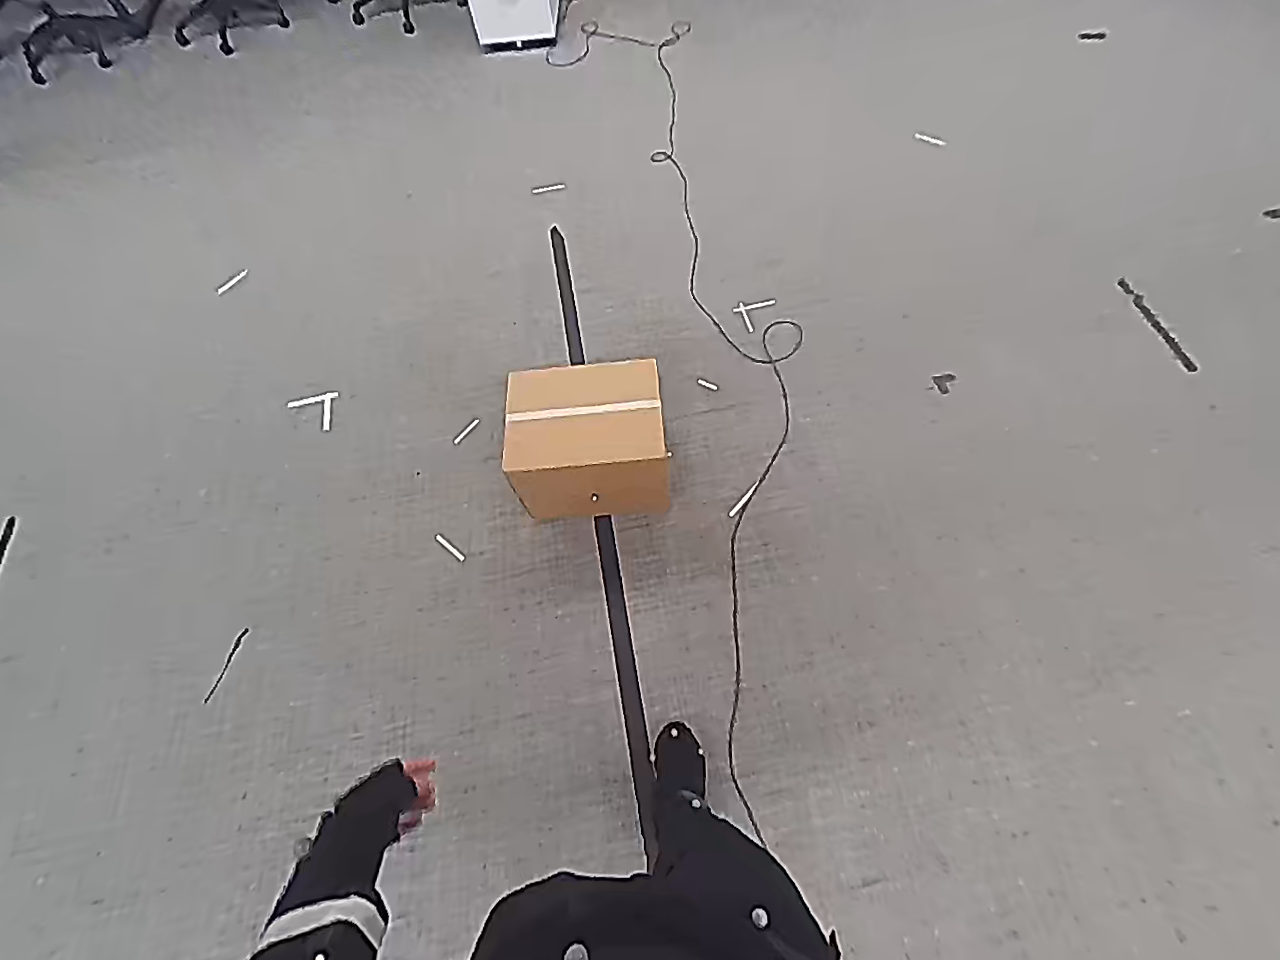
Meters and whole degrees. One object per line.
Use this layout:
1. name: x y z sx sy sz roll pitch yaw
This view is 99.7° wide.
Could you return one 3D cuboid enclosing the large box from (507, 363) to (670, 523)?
1. large box: -0.131 -0.092 1.510 0.408 0.320 0.320 -5 63 2
